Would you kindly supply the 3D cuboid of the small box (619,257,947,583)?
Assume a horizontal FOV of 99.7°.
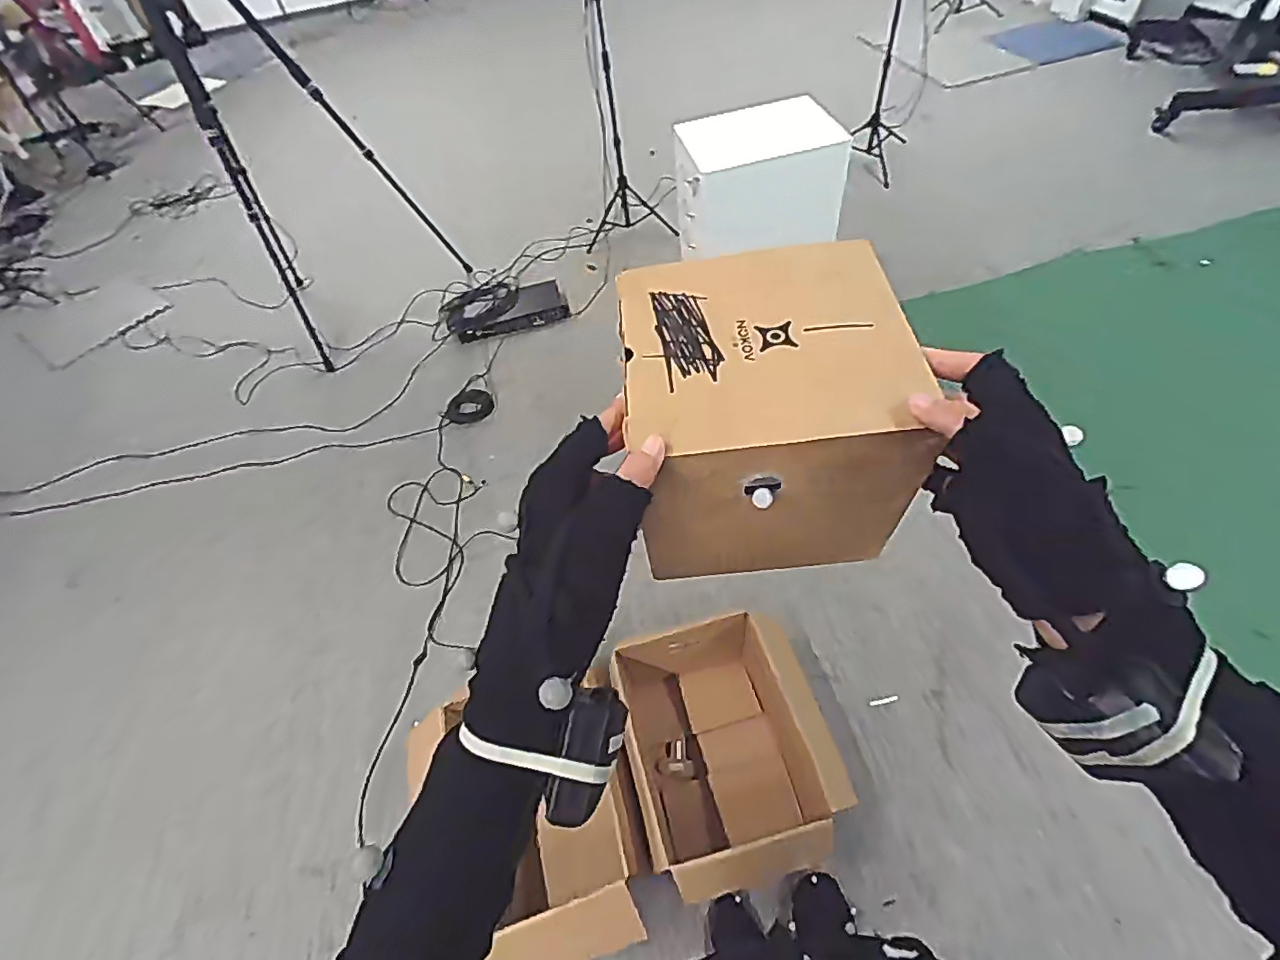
[{"bbox_3d":[0.084,-0.034,0.400,0.179,0.176,0.168,-6,56,3],"label":"small box"}]
